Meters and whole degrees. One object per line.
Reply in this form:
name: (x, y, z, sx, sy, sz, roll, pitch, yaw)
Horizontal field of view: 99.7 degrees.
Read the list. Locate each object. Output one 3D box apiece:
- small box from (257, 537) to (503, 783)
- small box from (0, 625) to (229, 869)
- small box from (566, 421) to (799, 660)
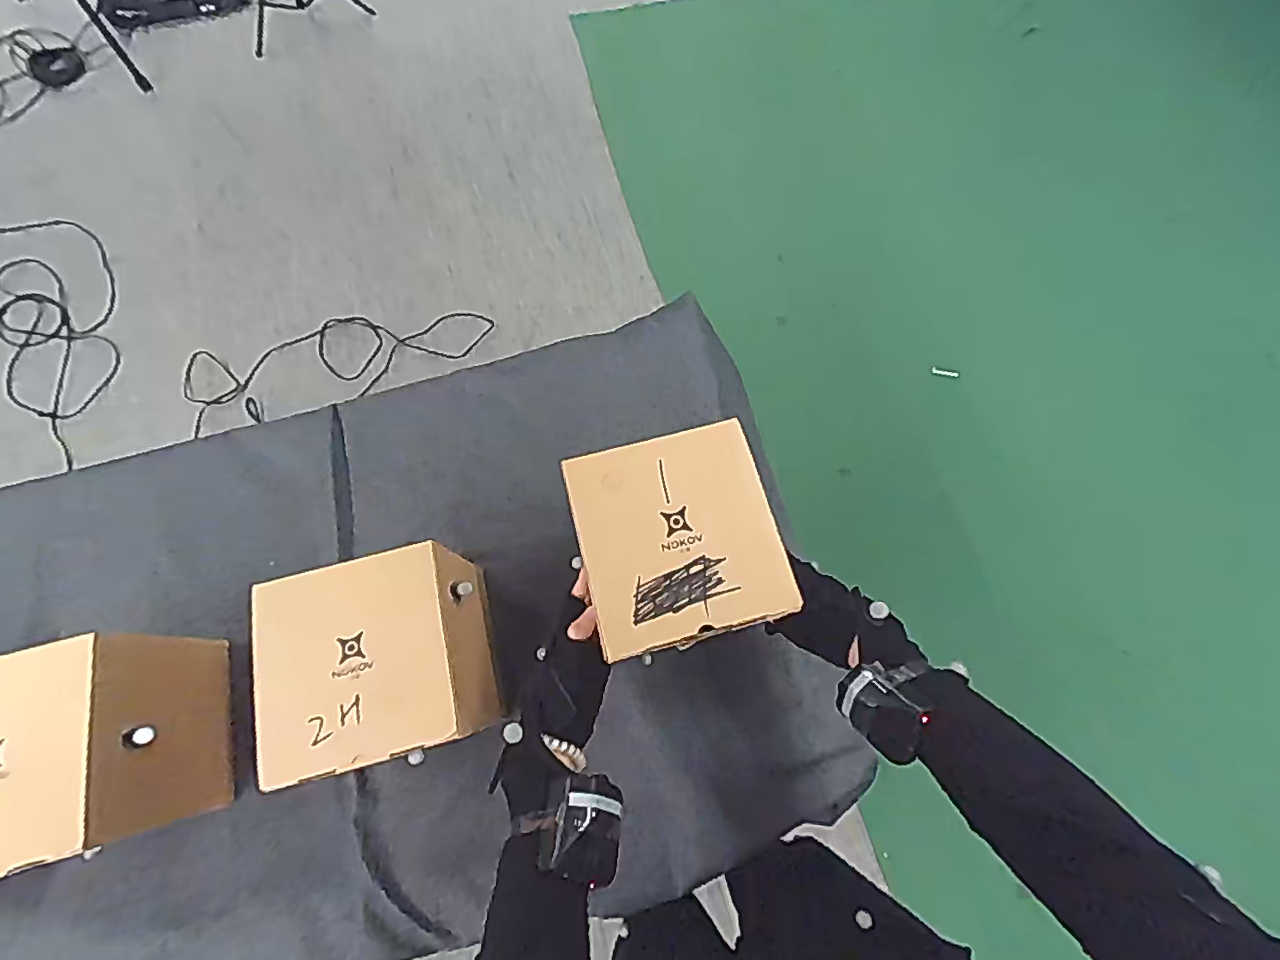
small box: (-0.247, 0.174, 0.543, 0.168, 0.176, 0.179, -13, 73, -5)
small box: (-0.535, 0.250, 0.518, 0.168, 0.176, 0.179, -14, 73, -5)
small box: (0.032, 0.067, 0.532, 0.168, 0.176, 0.179, -13, 73, -5)
